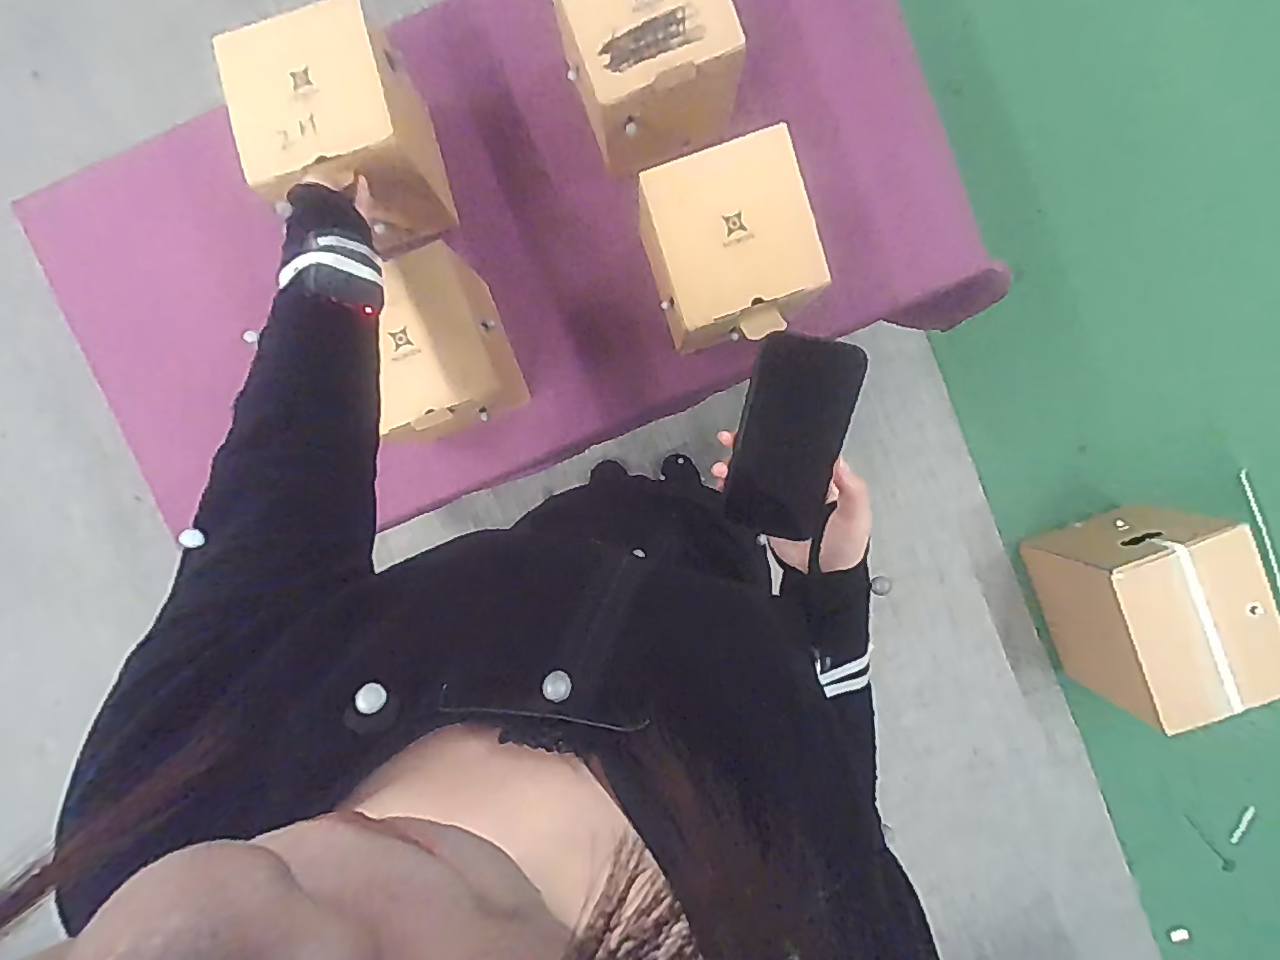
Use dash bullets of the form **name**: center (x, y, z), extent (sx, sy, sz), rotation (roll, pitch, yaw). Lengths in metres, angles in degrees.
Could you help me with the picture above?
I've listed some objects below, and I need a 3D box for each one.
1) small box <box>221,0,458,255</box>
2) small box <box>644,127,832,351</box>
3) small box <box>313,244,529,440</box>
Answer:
- **small box**: center (-0.341, -0.405, 0.644), extent (0.168, 0.176, 0.179), rotation (-16, 85, 3)
- **small box**: center (0.105, -0.274, 0.657), extent (0.168, 0.176, 0.179), rotation (-18, 94, 3)
- **small box**: center (-0.255, -0.158, 0.676), extent (0.168, 0.176, 0.179), rotation (-19, 93, 2)
